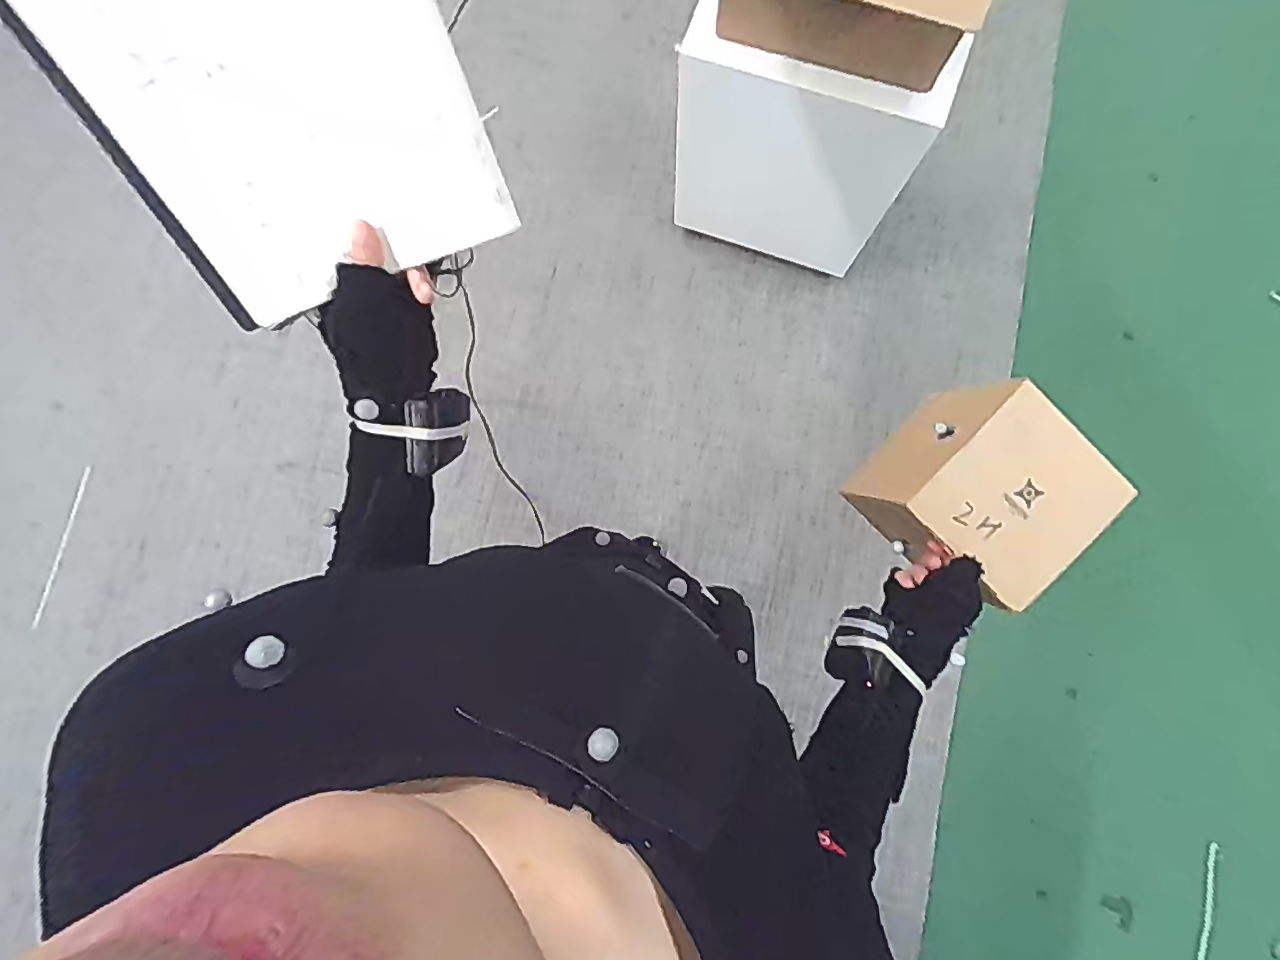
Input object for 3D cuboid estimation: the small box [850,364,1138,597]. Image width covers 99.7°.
[{"bbox_3d":[0.377,-0.004,0.613,0.168,0.176,0.179,43,92,-4],"label":"small box"}]
